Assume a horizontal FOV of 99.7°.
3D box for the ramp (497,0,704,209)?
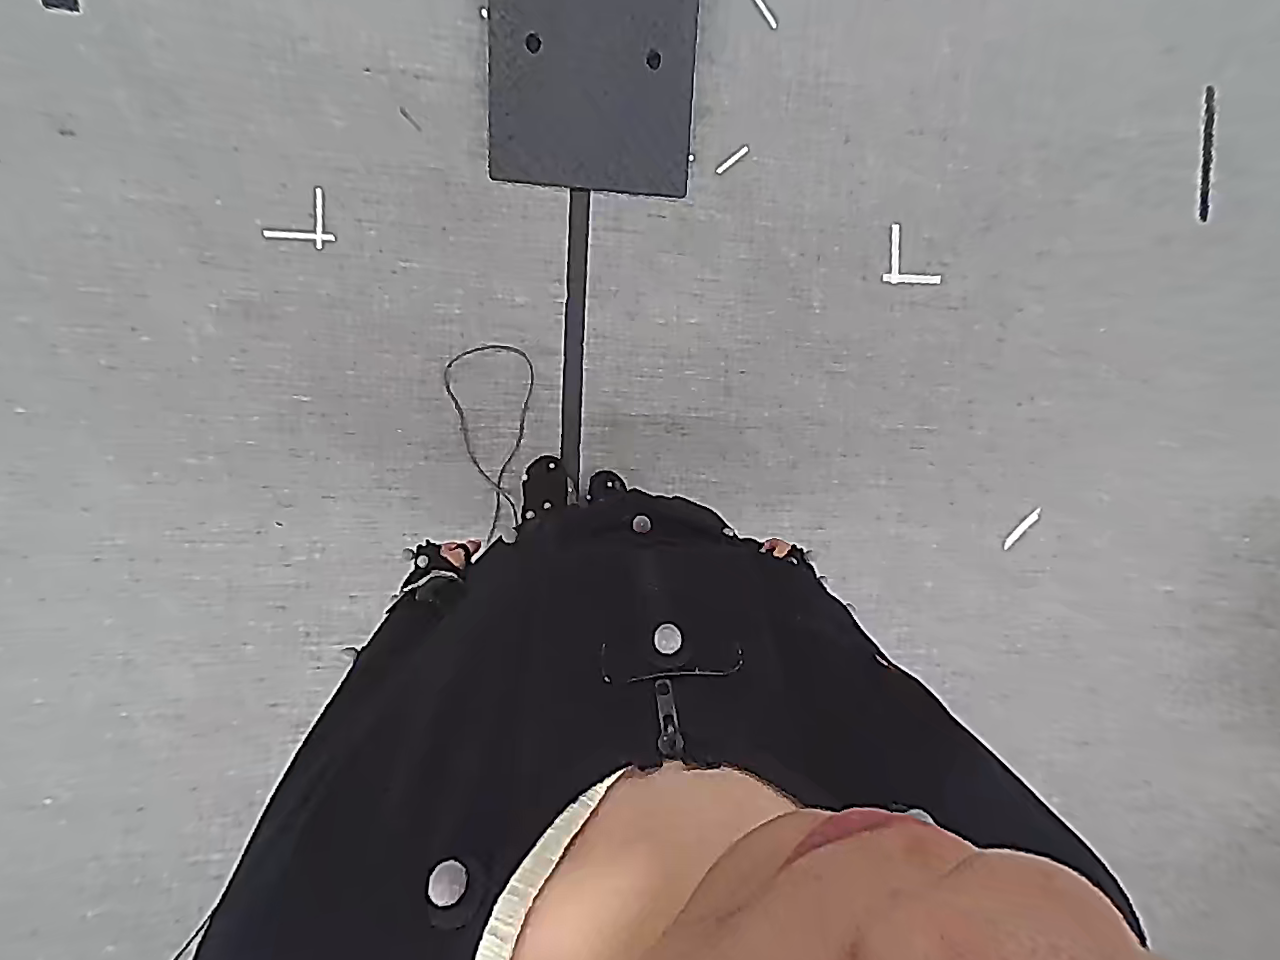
[{"bbox_3d":[-0.084,-1.187,1.264,0.509,0.206,0.991,-1,92,-9],"label":"ramp"}]
